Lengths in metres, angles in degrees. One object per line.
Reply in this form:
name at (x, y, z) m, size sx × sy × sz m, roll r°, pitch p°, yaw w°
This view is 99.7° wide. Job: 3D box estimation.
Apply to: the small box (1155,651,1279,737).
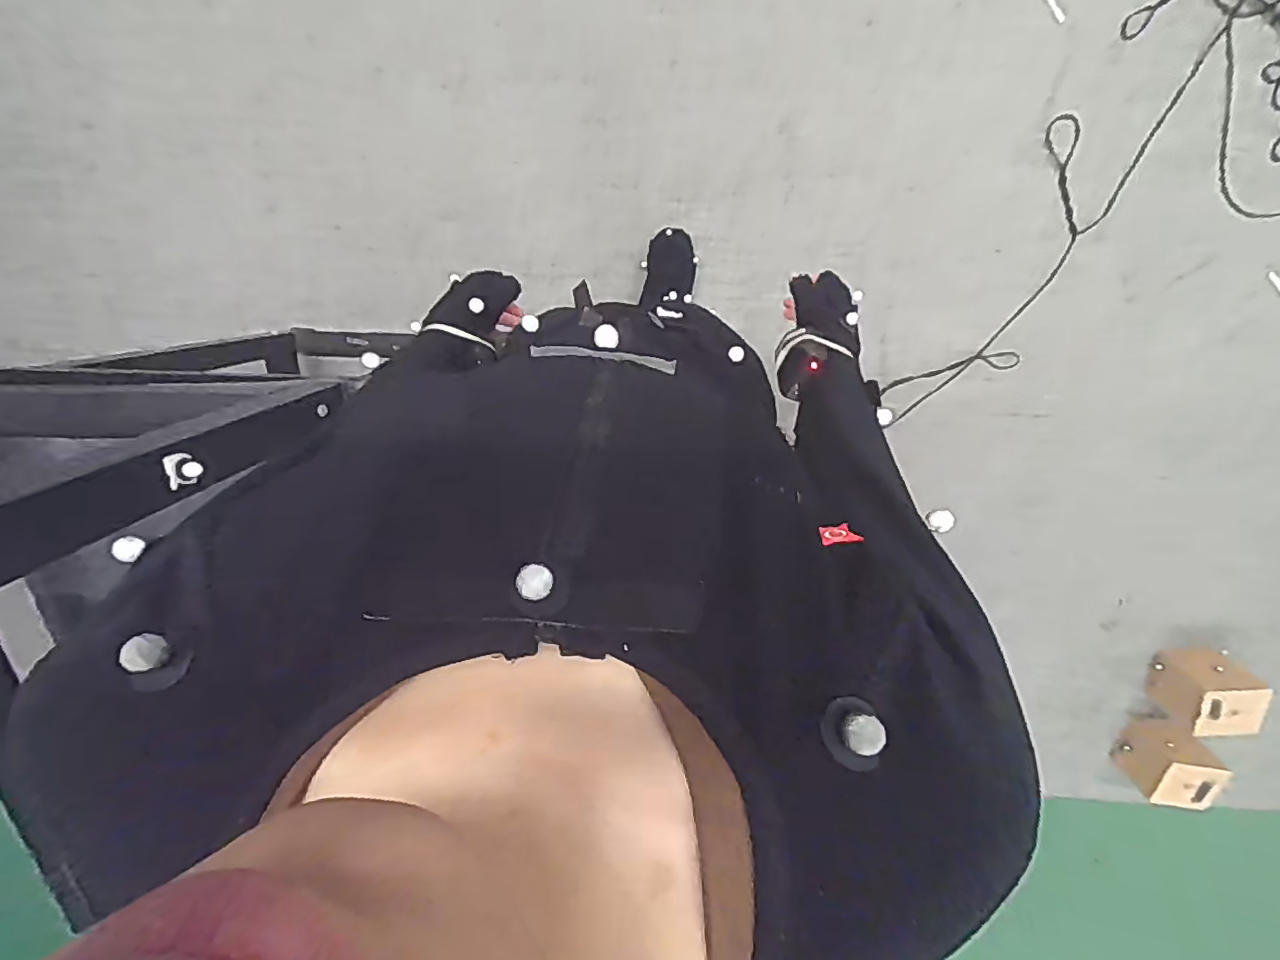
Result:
small box at (1.657, 0.613, 1.561) m, size 0.179 × 0.176 × 0.168 m, roll -5°, pitch 111°, yaw 5°
